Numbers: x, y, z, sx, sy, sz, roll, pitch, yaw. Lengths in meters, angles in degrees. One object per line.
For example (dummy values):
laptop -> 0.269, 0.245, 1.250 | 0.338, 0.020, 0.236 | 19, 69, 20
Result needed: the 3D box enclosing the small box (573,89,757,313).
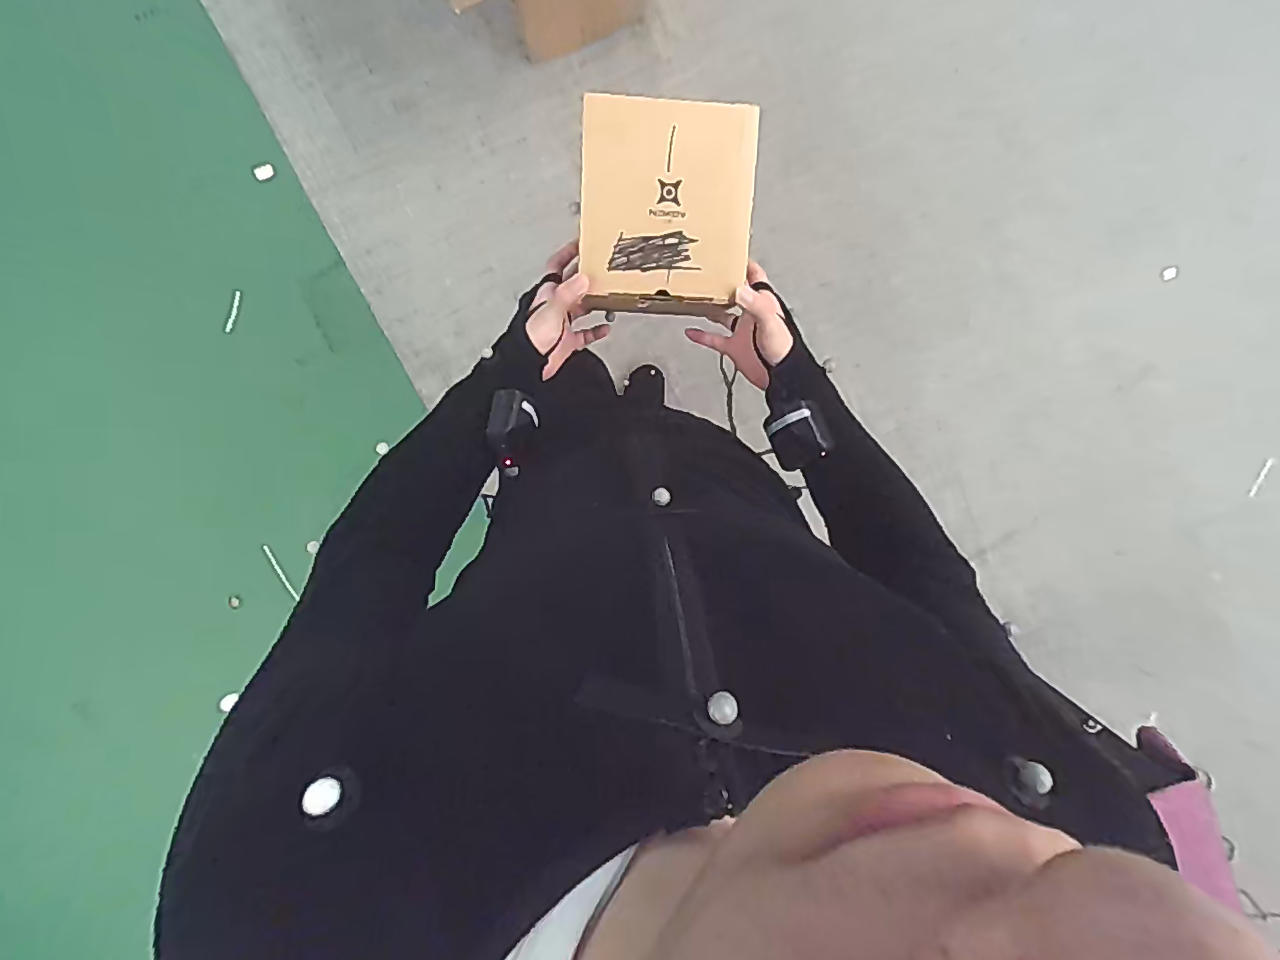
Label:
small box -> 0.018, -0.282, 0.590 | 0.168, 0.176, 0.179 | 3, 101, -4
